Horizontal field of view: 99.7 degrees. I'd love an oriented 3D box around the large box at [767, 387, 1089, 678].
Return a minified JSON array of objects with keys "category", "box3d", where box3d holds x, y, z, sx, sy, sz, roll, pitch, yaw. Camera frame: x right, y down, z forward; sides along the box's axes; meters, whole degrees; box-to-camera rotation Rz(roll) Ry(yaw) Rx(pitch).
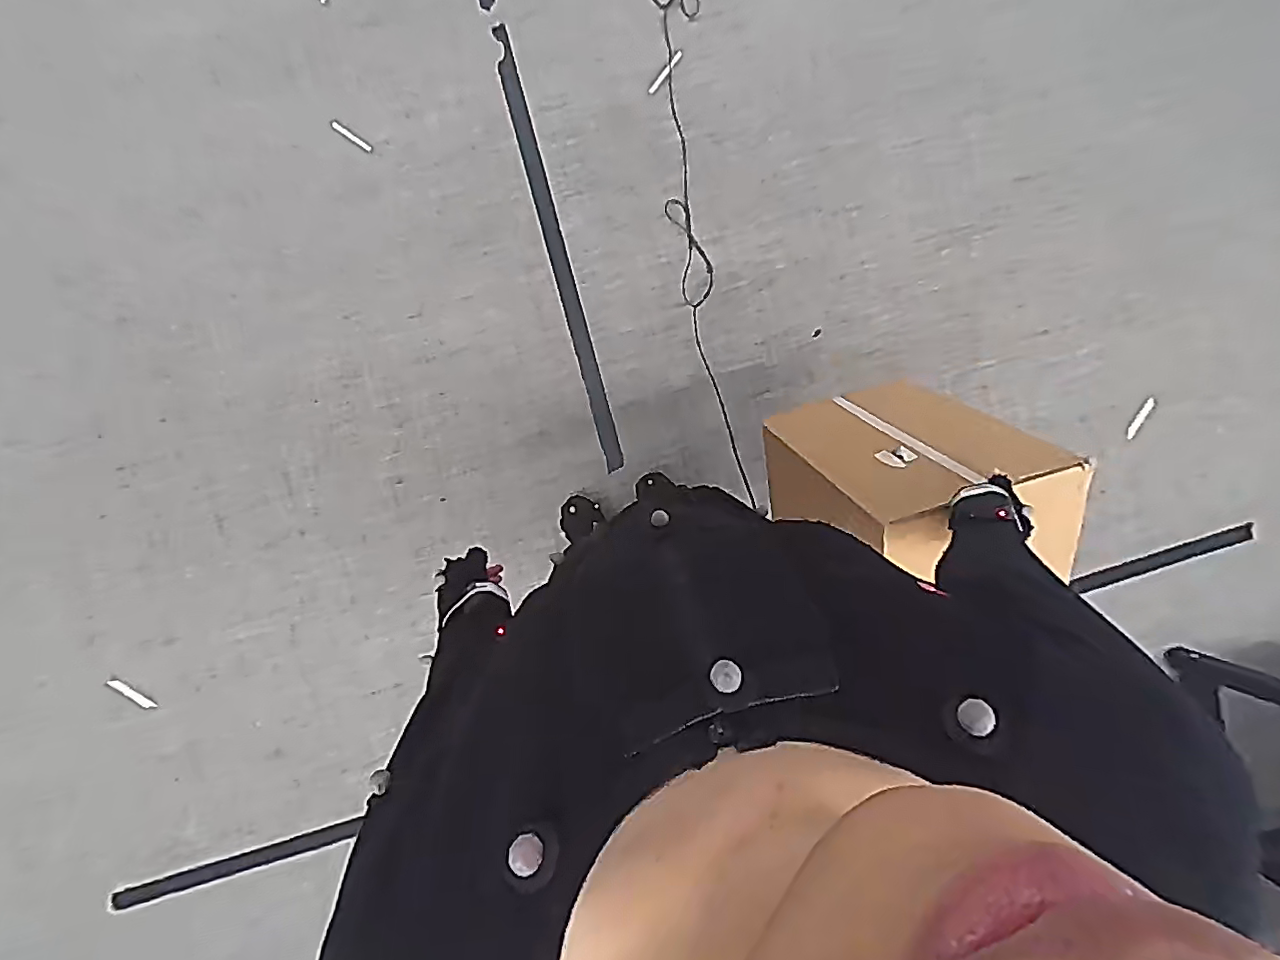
[{"category":"large box","box3d":[0.462,0.067,0.977,0.320,0.408,0.320,-17,120,-5]}]
